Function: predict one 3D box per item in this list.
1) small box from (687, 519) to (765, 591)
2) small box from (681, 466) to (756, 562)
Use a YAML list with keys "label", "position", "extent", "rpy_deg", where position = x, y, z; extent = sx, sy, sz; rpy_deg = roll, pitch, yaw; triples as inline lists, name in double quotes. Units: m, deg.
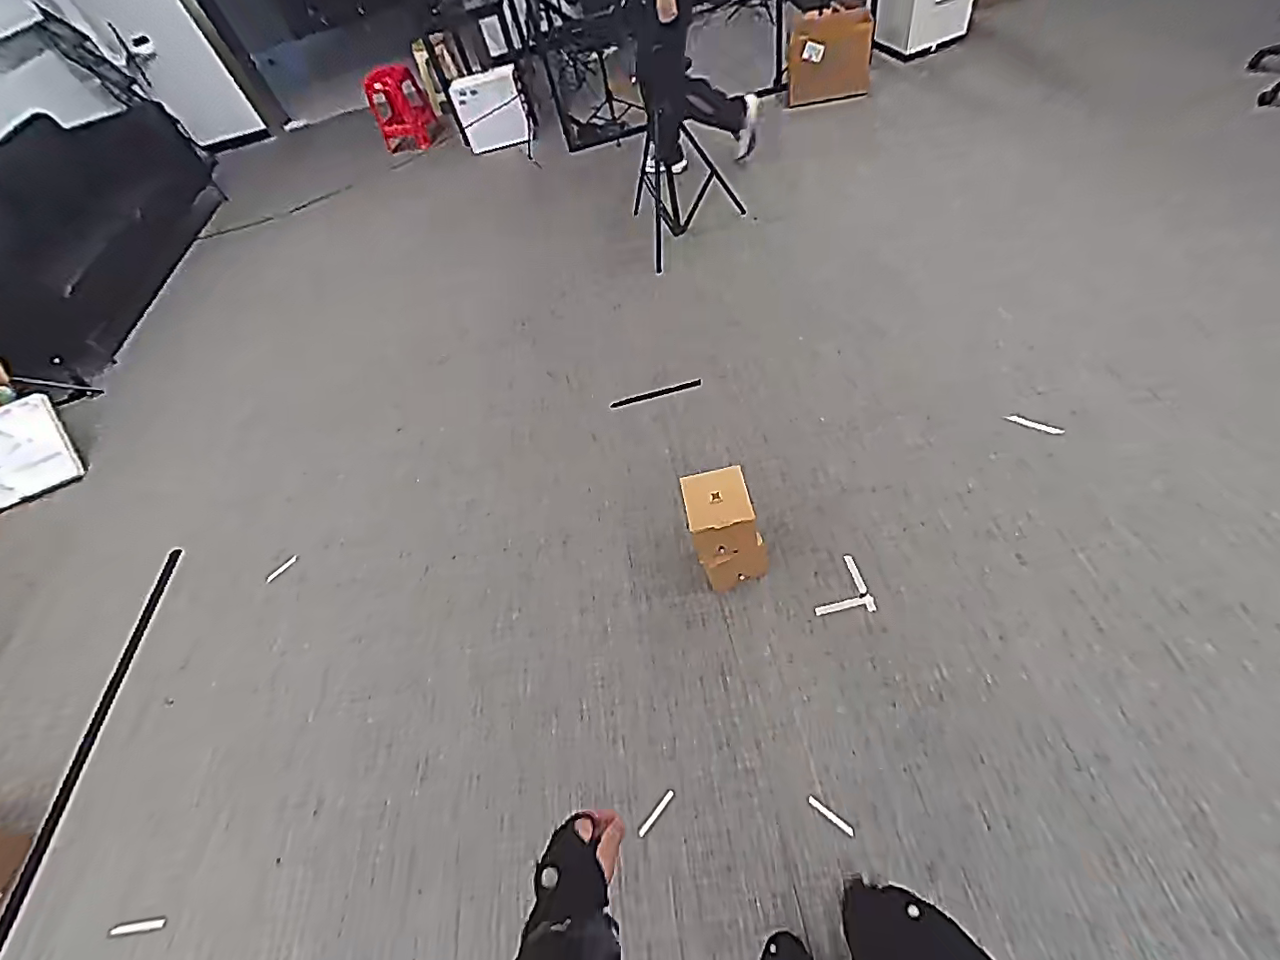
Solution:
- label: "small box"
  position: [0.251, 0.192, 1.569]
  extent: [0.168, 0.176, 0.179]
  rpy_deg: [-23, 52, -2]
- label: "small box"
  position: [0.210, 0.093, 1.445]
  extent: [0.168, 0.176, 0.179]
  rpy_deg: [-13, 52, 5]
